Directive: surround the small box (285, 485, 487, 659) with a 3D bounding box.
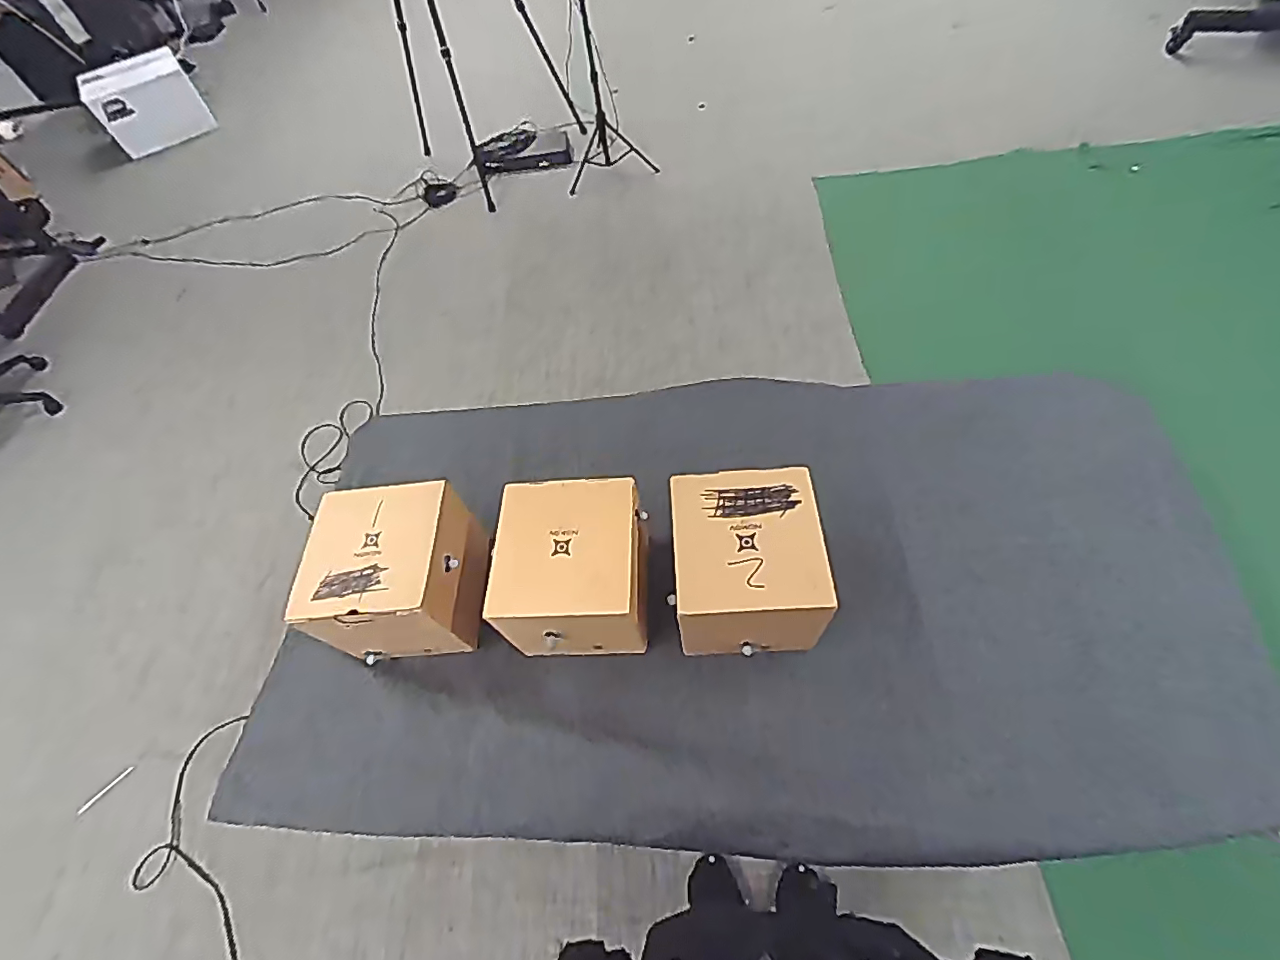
[{"bbox_3d":[-0.314,0.130,0.714,0.168,0.176,0.179,-6,56,4],"label":"small box"}]

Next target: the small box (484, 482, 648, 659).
[{"bbox_3d":[-0.079,0.123,0.688,0.168,0.176,0.179,-3,56,6],"label":"small box"}]
